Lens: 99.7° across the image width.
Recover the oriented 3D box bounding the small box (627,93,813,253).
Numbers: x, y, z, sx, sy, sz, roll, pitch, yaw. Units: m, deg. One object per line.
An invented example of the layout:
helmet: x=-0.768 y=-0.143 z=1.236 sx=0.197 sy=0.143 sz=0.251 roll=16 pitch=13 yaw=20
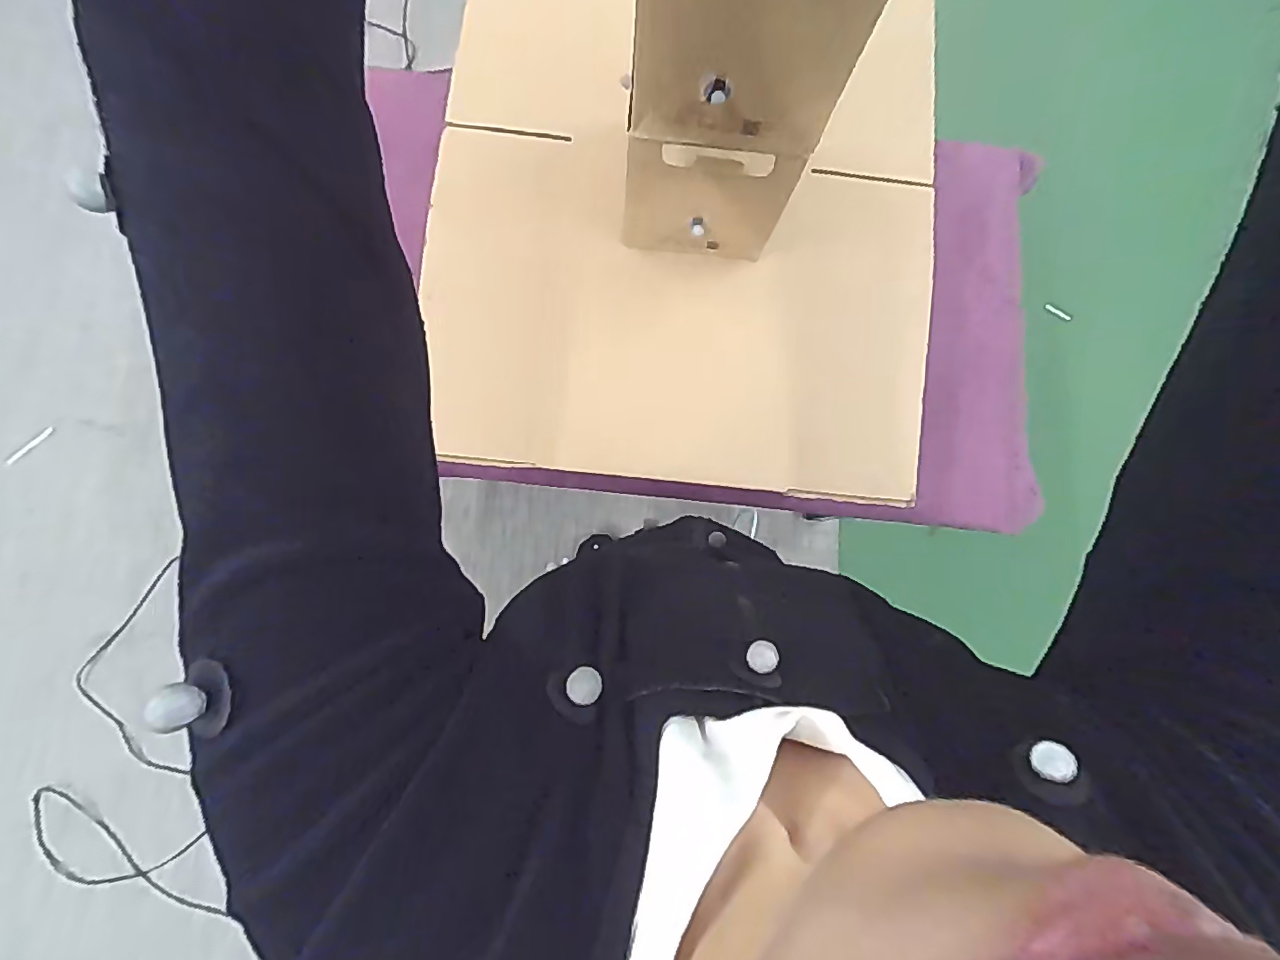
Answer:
small box: x=0.076 y=-0.373 z=0.570 sx=0.168 sy=0.176 sz=0.179 roll=6 pitch=81 yaw=-2

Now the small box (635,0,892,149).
small box: x=0.086 y=-0.397 z=0.409 sx=0.168 sy=0.176 sz=0.179 roll=4 pitch=82 yaw=-3
